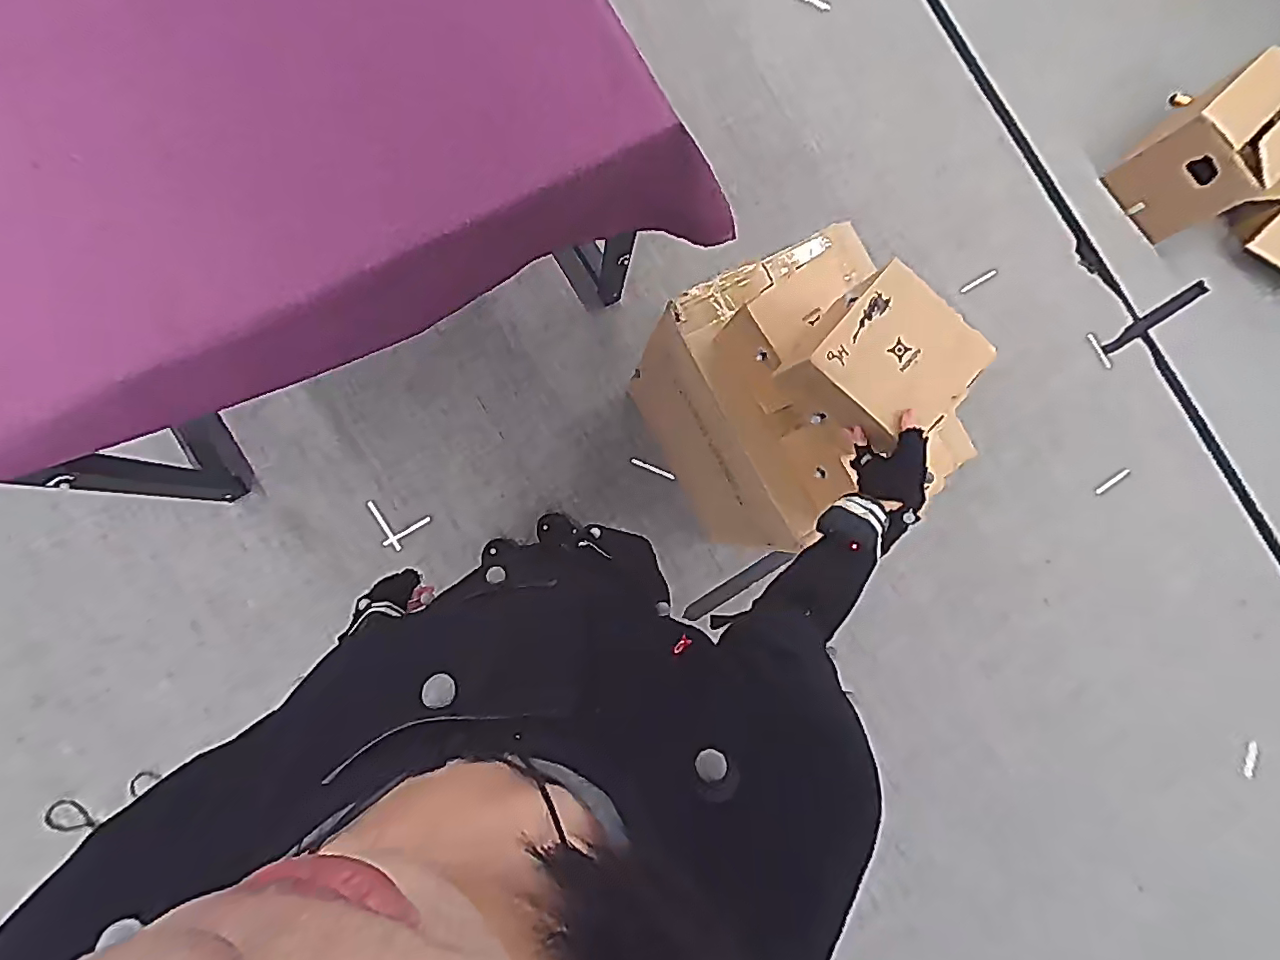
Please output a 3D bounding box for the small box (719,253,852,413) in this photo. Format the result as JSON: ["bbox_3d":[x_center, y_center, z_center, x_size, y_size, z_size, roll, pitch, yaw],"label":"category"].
[{"bbox_3d":[0.259,-0.237,0.912,0.168,0.176,0.179,-34,91,-9],"label":"small box"}]

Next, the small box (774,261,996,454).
[{"bbox_3d":[0.315,-0.153,0.732,0.179,0.176,0.168,41,90,-4],"label":"small box"}]

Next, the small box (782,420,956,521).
[{"bbox_3d":[0.371,-0.044,0.908,0.168,0.176,0.179,-29,87,-9],"label":"small box"}]
